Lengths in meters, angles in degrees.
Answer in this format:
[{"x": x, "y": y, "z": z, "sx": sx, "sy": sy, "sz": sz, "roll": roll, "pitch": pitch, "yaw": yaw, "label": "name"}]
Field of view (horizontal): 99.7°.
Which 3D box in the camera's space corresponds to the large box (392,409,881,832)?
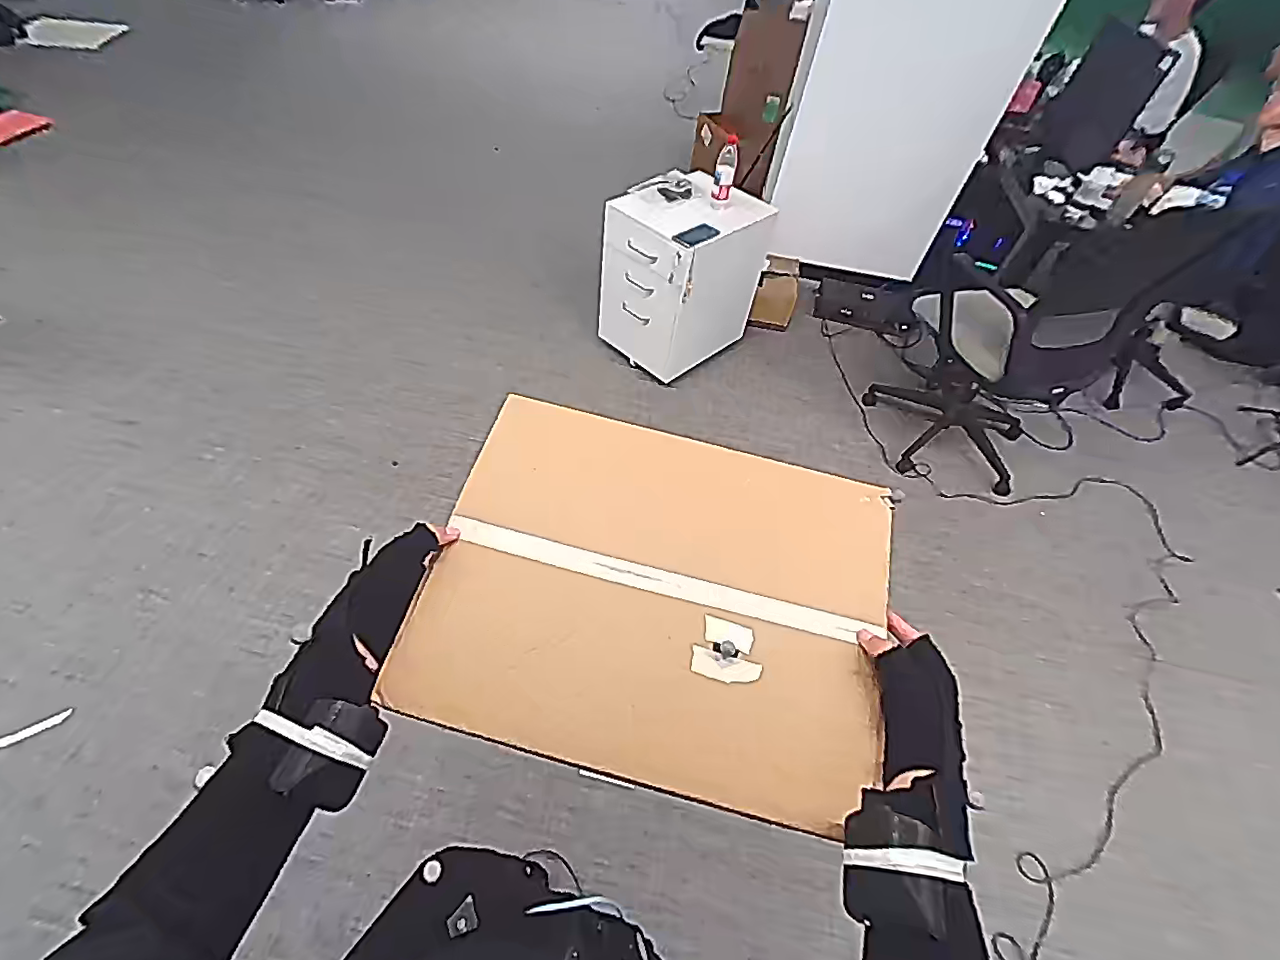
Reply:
[{"x": 0.010, "y": 0.167, "z": 0.627, "sx": 0.408, "sy": 0.320, "sz": 0.320, "roll": 15, "pitch": 63, "yaw": 2, "label": "large box"}]
